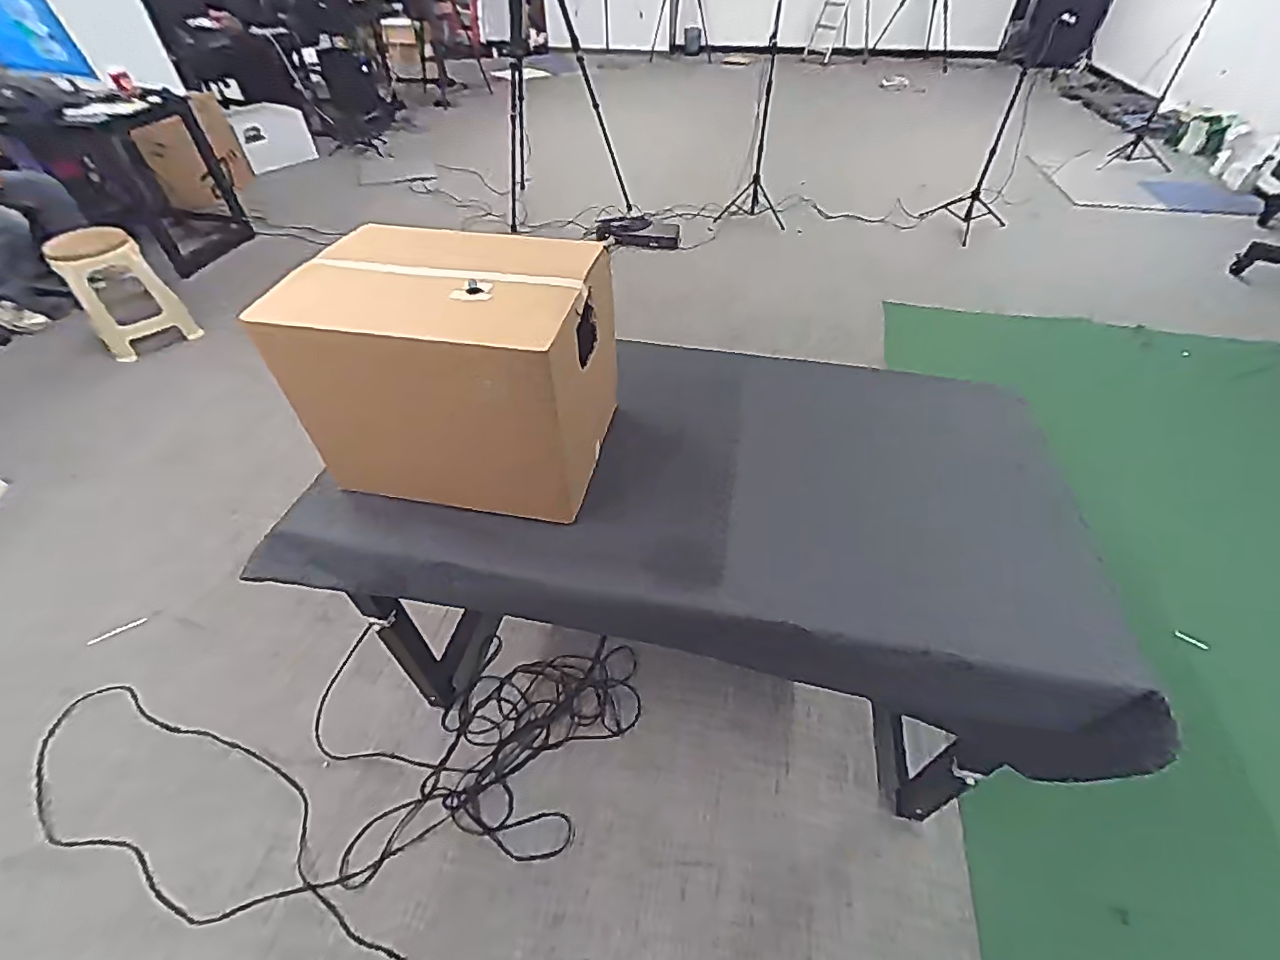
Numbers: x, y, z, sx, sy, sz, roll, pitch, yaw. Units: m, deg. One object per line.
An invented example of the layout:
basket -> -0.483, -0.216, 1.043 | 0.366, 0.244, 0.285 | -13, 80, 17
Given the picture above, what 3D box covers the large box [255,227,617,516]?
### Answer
large box -> -0.262, -0.174, 0.855 | 0.408, 0.320, 0.320 | 8, 47, 6
